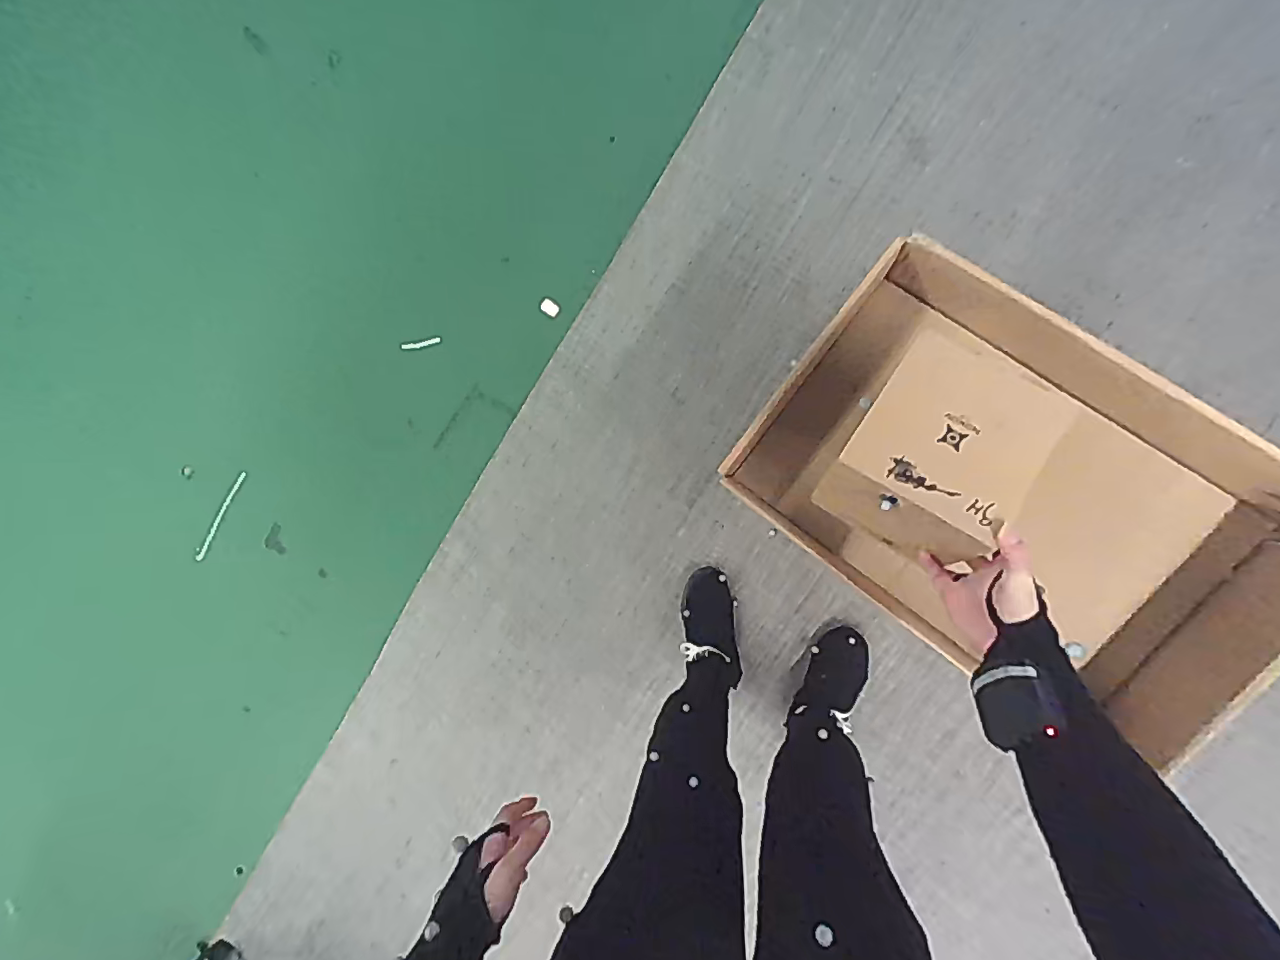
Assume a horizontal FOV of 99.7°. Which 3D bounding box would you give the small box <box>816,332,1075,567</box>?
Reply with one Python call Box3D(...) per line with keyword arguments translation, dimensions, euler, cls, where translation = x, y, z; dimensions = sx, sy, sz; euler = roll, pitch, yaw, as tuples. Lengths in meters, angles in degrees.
Box3D(translation=(0.320, -0.024, 0.608), dimensions=(0.168, 0.176, 0.179), euler=(34, 81, 15), cls="small box")
